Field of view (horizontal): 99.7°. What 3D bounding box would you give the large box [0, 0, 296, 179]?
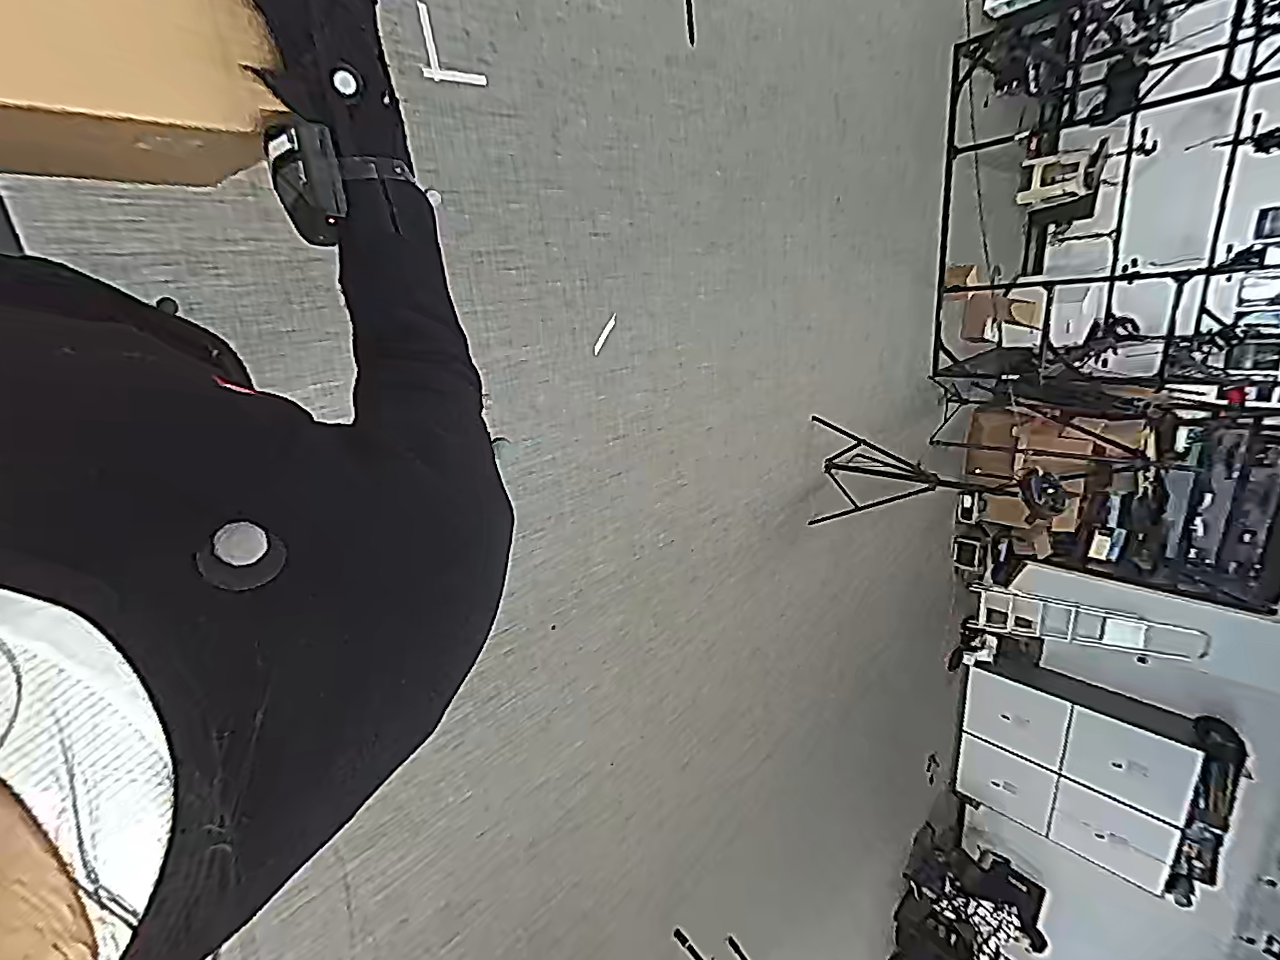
[{"bbox_3d":[-0.491,-0.364,0.291,0.408,0.320,0.320,-23,121,-42],"label":"large box"}]
